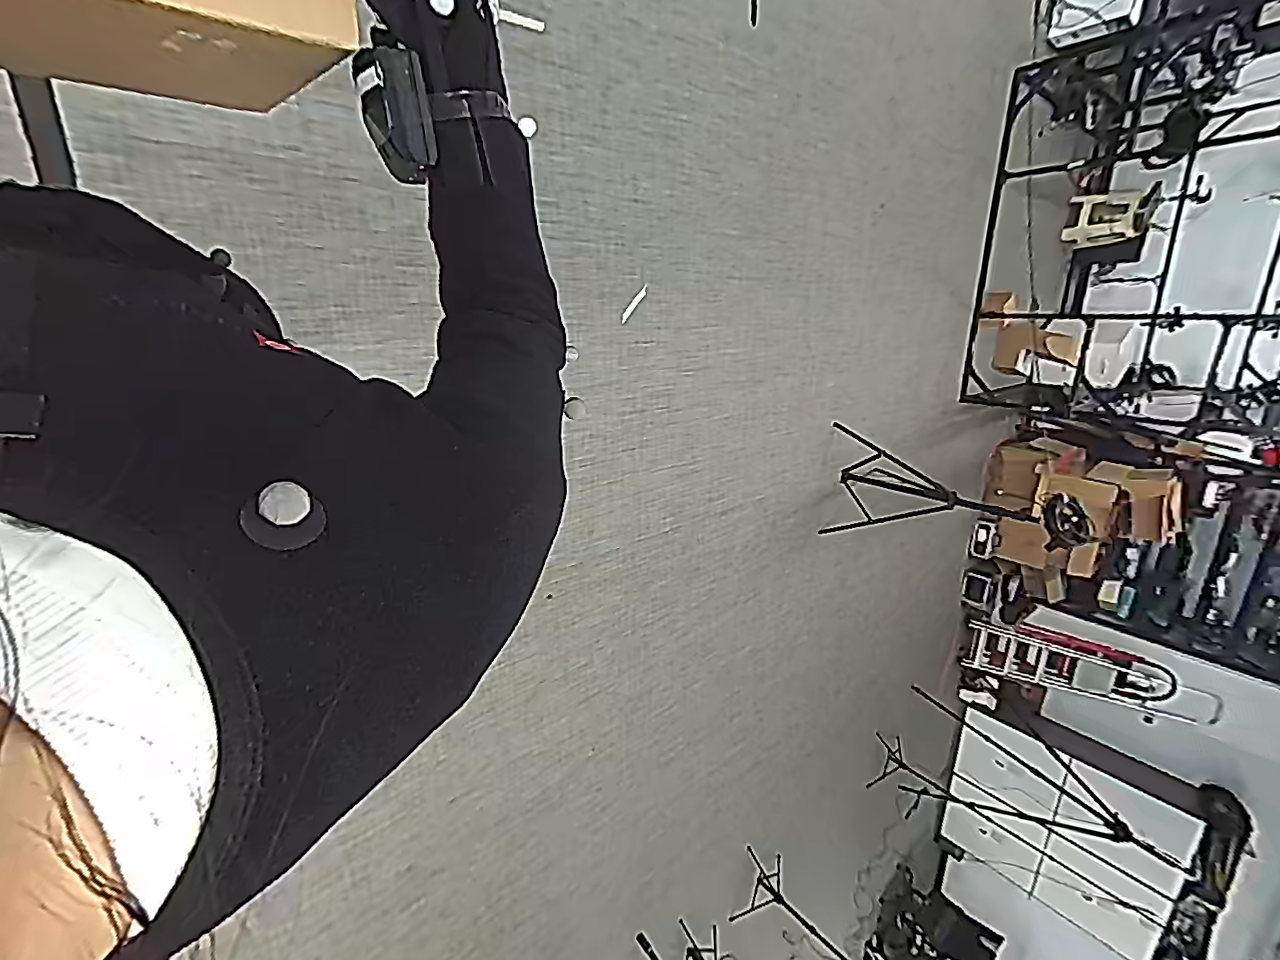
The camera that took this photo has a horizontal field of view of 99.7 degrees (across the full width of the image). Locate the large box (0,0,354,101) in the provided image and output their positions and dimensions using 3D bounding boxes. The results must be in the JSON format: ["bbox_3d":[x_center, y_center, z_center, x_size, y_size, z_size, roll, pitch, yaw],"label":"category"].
[{"bbox_3d":[-0.406,-0.398,0.233,0.408,0.320,0.320,-17,123,-38],"label":"large box"}]
